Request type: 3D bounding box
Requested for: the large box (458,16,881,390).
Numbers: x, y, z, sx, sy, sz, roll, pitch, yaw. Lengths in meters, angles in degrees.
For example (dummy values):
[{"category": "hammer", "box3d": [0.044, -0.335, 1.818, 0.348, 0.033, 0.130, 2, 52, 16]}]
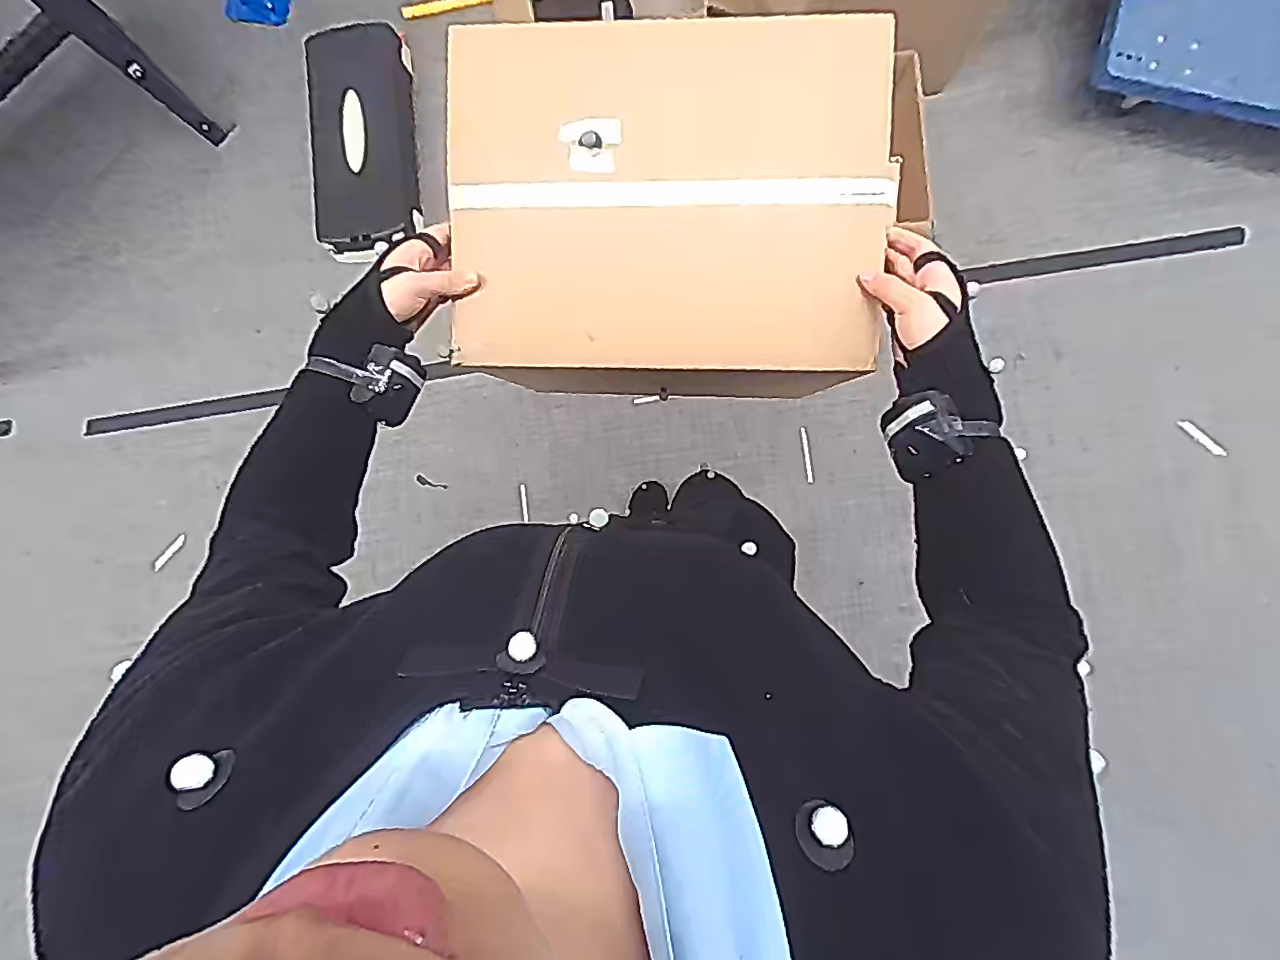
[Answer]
[{"category": "large box", "box3d": [0.036, -0.276, 0.660, 0.408, 0.320, 0.320, 1, 93, 5]}]
